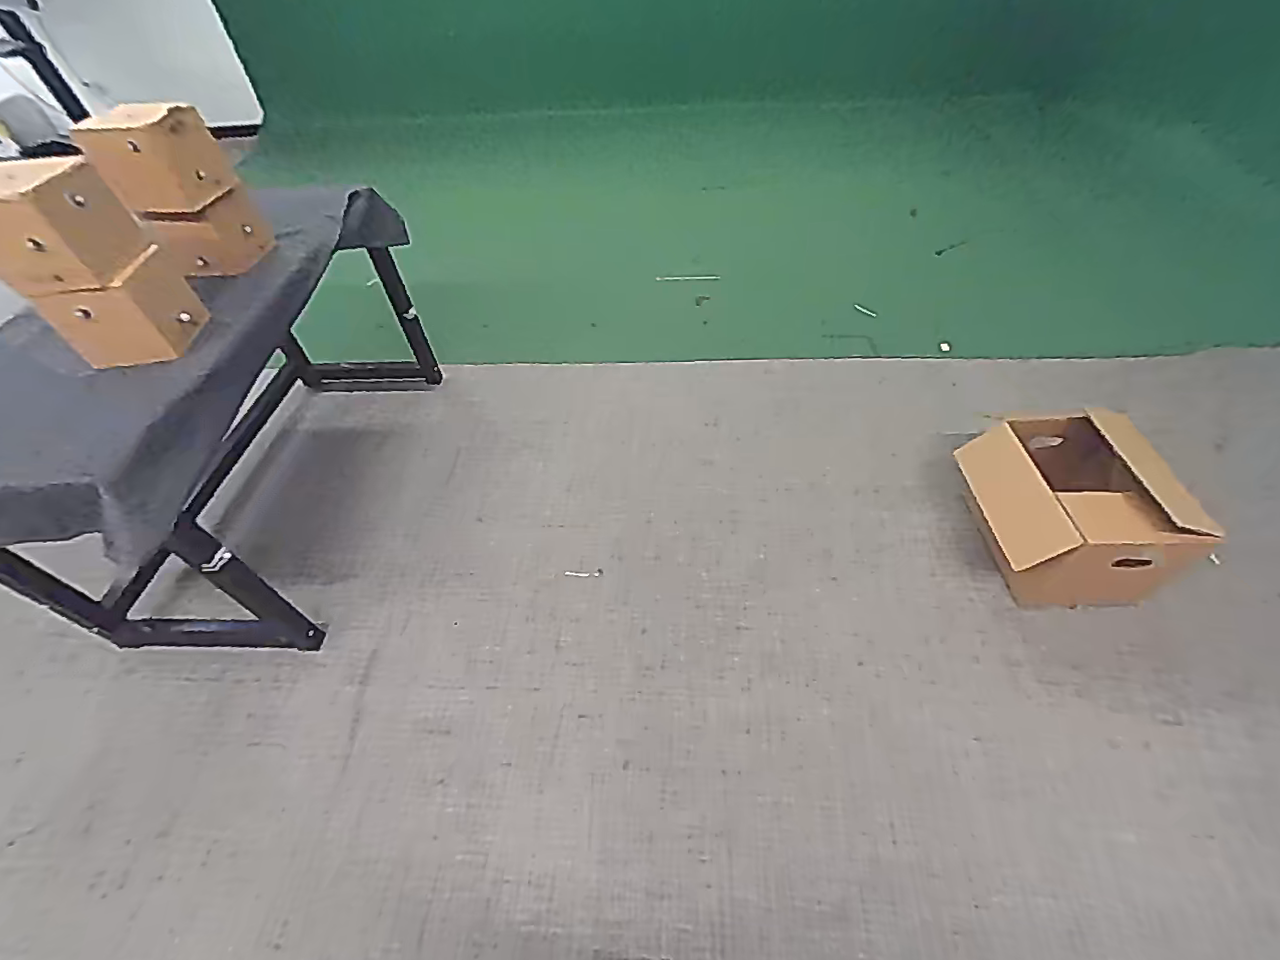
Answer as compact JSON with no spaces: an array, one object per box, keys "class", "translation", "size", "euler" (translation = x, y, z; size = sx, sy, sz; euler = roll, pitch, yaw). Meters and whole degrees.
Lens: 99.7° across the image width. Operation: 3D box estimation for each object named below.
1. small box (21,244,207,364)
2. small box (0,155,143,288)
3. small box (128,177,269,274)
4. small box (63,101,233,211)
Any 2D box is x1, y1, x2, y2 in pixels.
[{"class":"small box","translation":[-1.047,-0.353,1.097],"size":[0.179,0.176,0.168],"euler":[-7,50,-3]},{"class":"small box","translation":[-1.071,-0.461,0.977],"size":[0.168,0.176,0.179],"euler":[-4,48,-1]},{"class":"small box","translation":[-1.069,-0.624,1.332],"size":[0.179,0.176,0.168],"euler":[1,50,4]},{"class":"small box","translation":[-1.067,-0.711,1.191],"size":[0.179,0.176,0.168],"euler":[3,50,6]}]
